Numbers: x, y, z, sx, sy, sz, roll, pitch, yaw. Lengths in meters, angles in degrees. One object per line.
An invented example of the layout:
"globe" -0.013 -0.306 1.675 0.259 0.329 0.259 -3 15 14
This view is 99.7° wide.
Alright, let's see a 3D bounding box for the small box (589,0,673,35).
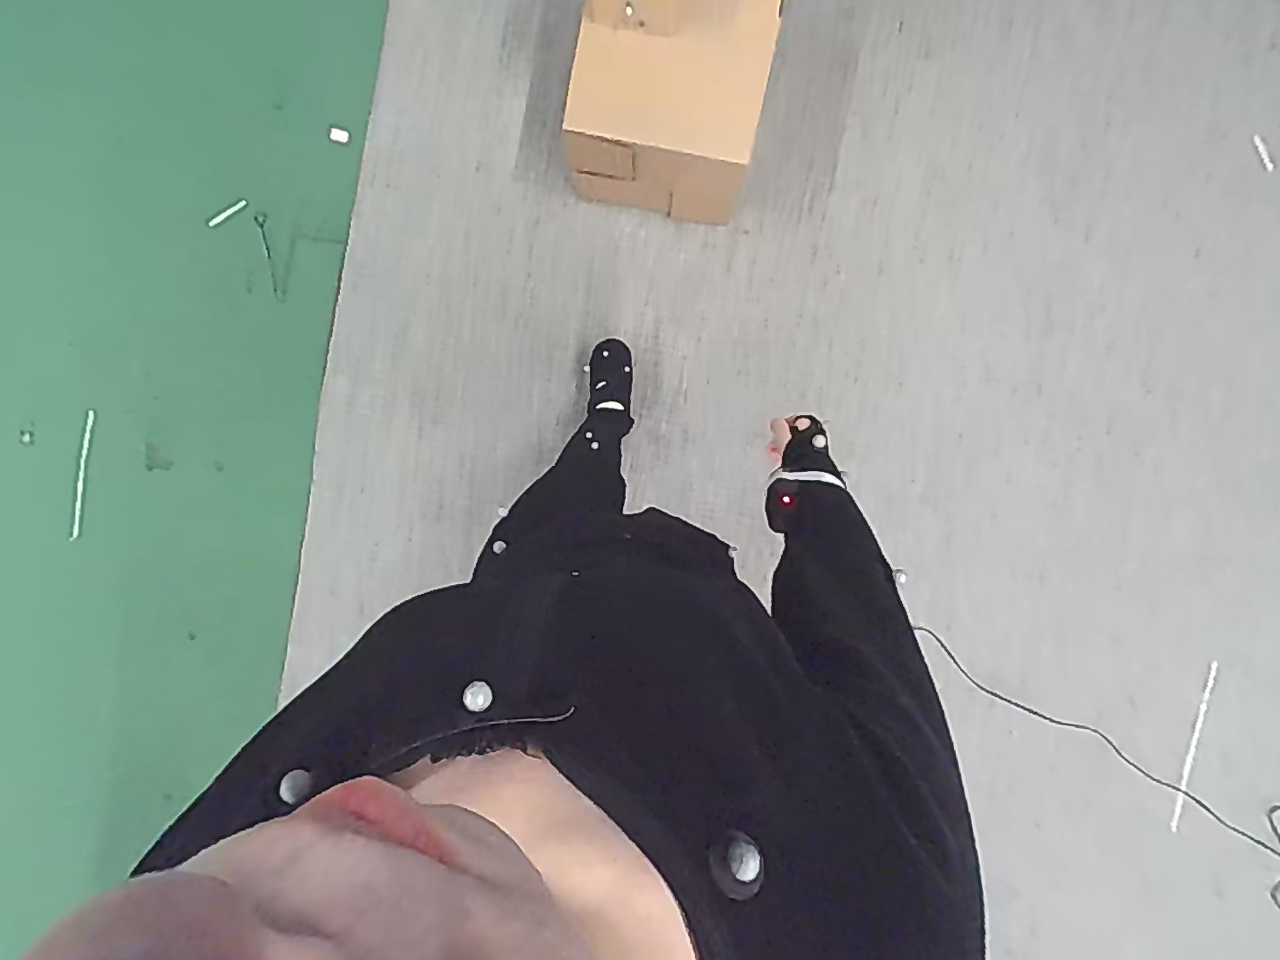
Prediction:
"small box" -0.012 -1.016 1.033 0.168 0.176 0.179 12 91 2
